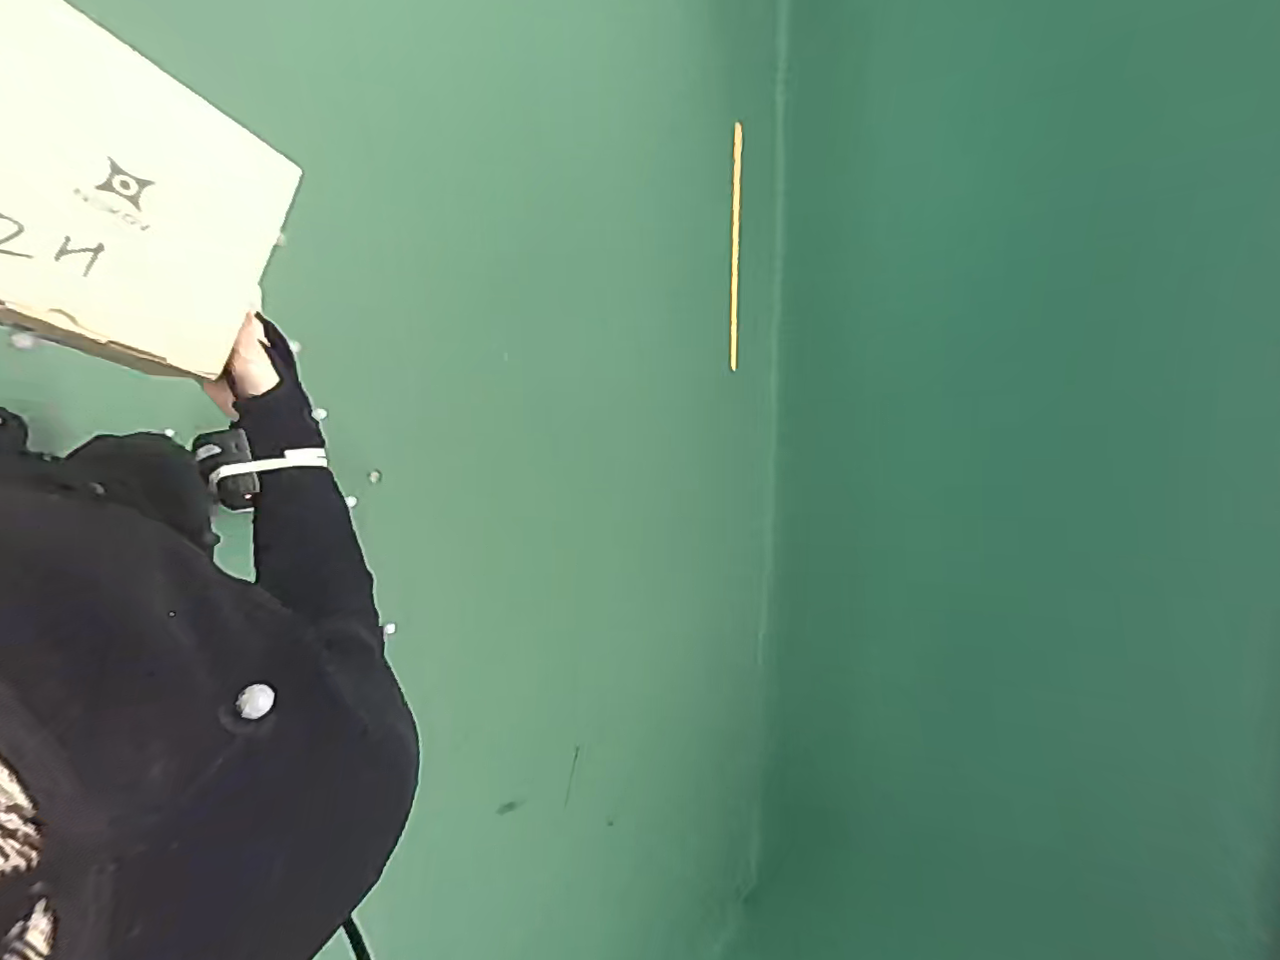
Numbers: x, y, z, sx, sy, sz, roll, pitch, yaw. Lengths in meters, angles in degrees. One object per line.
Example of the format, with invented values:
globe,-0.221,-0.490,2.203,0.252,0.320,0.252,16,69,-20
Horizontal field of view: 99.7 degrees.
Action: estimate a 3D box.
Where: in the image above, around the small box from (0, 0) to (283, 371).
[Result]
small box,-0.397,-0.191,0.373,0.168,0.176,0.179,28,75,-55
